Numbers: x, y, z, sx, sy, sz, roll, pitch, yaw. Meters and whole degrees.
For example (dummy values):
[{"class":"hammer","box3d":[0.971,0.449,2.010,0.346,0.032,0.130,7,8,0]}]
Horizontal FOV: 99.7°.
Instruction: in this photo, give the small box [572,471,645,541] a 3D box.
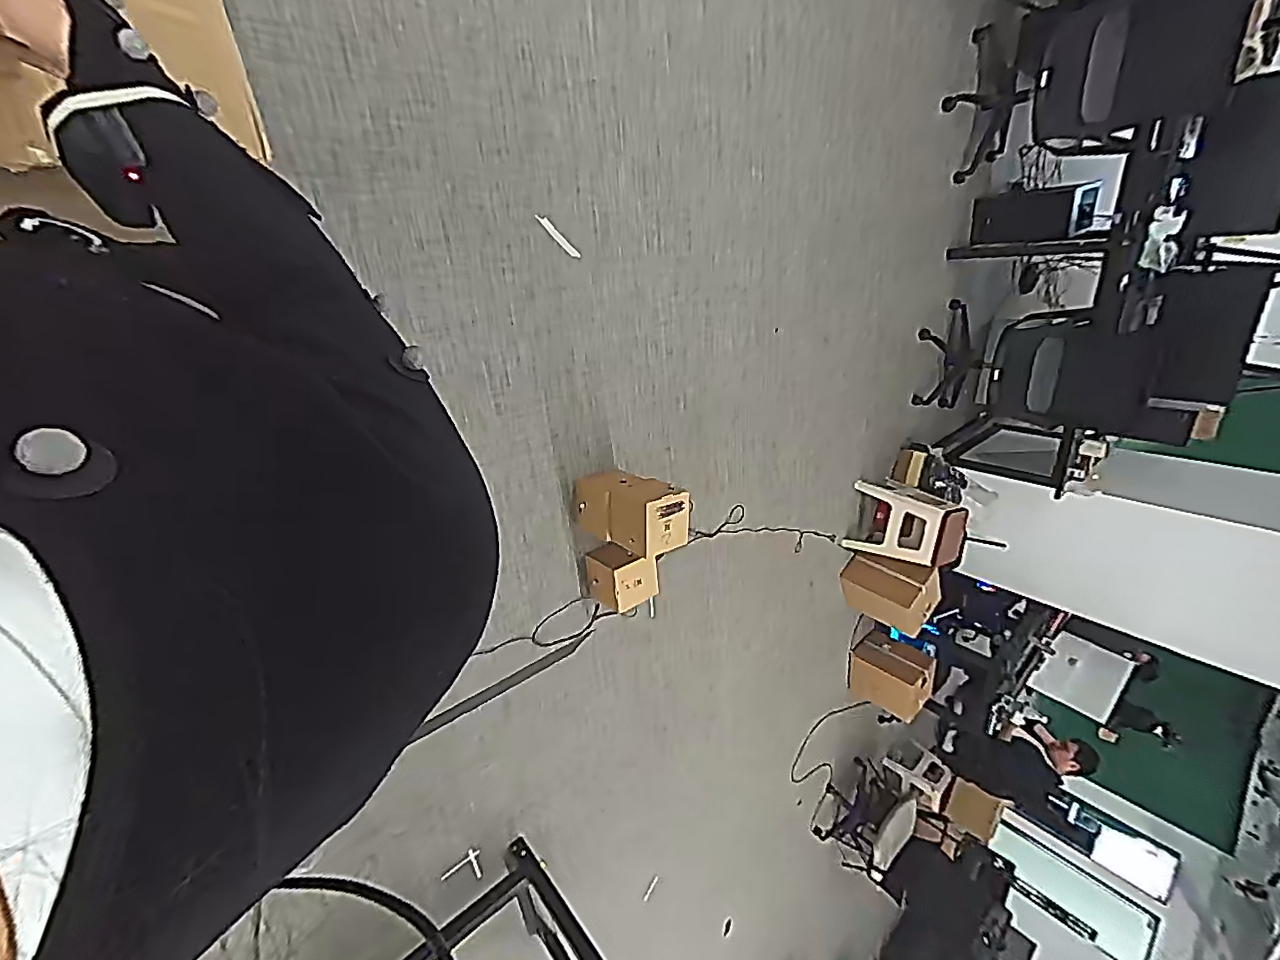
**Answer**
[{"class":"small box","box3d":[-0.102,0.076,1.734,0.179,0.176,0.168,-14,112,-37]}]

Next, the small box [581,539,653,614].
[{"class":"small box","box3d":[-0.076,0.320,1.836,0.179,0.176,0.168,-20,115,-35]}]

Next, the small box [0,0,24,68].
[{"class":"small box","box3d":[-0.537,-0.381,0.327,0.168,0.176,0.179,-21,118,-35]}]
